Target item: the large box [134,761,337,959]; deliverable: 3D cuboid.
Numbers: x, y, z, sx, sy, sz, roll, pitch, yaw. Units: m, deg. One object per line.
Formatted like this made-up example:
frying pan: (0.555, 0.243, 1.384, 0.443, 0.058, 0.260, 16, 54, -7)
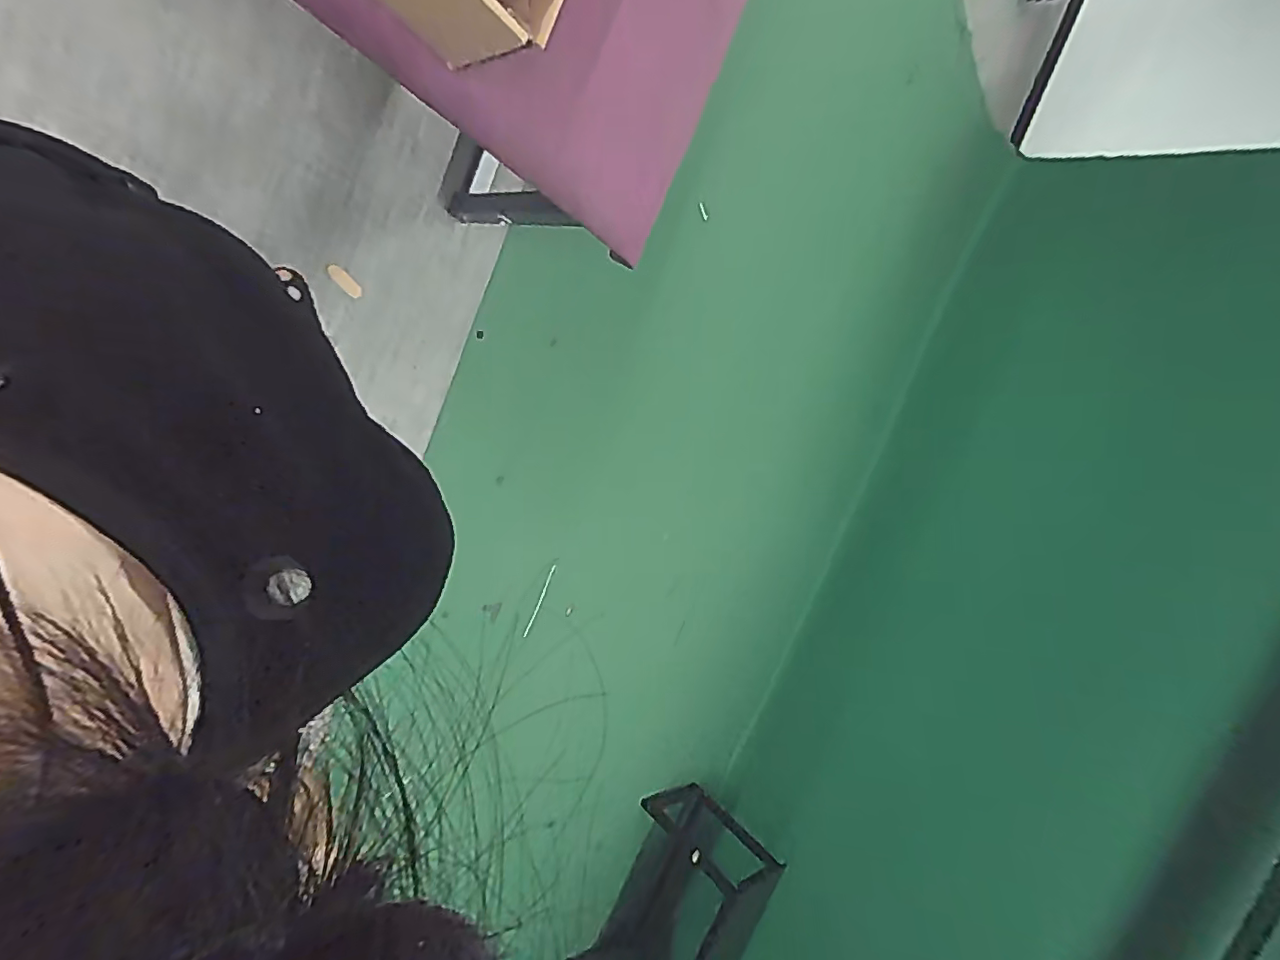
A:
large box: (-1.115, 1.074, 1.499, 0.408, 0.320, 0.320, -3, 113, -45)
